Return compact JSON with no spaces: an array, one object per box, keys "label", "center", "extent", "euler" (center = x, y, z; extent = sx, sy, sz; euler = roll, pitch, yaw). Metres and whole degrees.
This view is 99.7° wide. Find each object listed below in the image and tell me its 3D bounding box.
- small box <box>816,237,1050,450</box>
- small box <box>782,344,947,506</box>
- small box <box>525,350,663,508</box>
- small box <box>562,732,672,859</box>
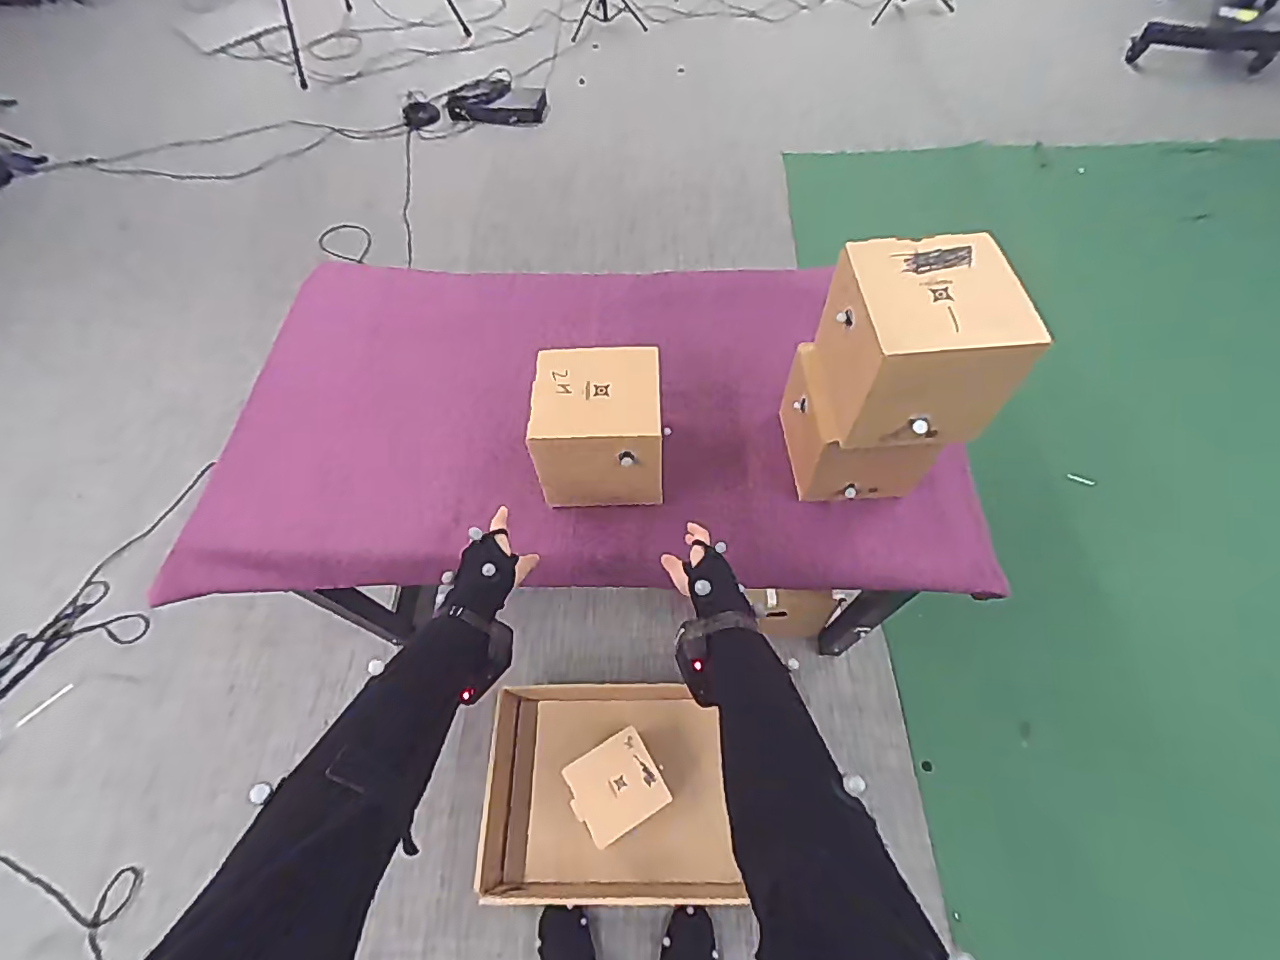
[{"label":"small box","center":[0.319,-0.156,0.637],"extent":[0.168,0.176,0.179],"euler":[-4,58,3]},{"label":"small box","center":[0.311,-0.080,0.785],"extent":[0.168,0.176,0.179],"euler":[-4,58,2]},{"label":"small box","center":[-0.056,-0.069,0.793],"extent":[0.179,0.176,0.168],"euler":[-2,55,2]},{"label":"small box","center":[-0.042,0.668,1.152],"extent":[0.179,0.176,0.168],"euler":[-28,62,-12]}]
